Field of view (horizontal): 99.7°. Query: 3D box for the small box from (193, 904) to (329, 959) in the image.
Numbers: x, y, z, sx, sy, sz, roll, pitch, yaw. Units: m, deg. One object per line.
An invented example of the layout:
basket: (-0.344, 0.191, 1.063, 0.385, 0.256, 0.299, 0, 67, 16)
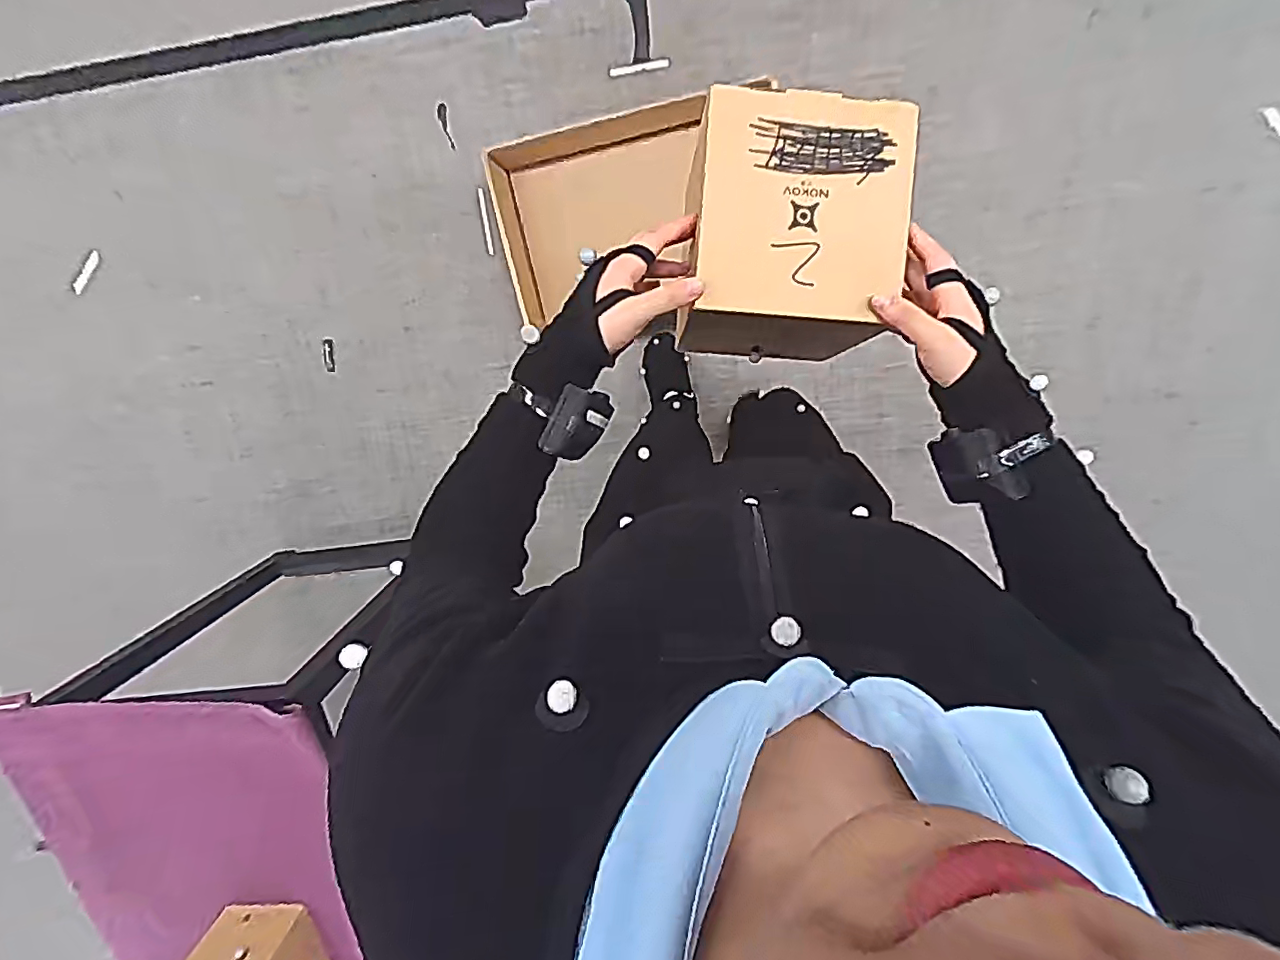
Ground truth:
small box: (-0.711, 0.916, 0.989, 0.168, 0.176, 0.179, -6, 107, 5)
